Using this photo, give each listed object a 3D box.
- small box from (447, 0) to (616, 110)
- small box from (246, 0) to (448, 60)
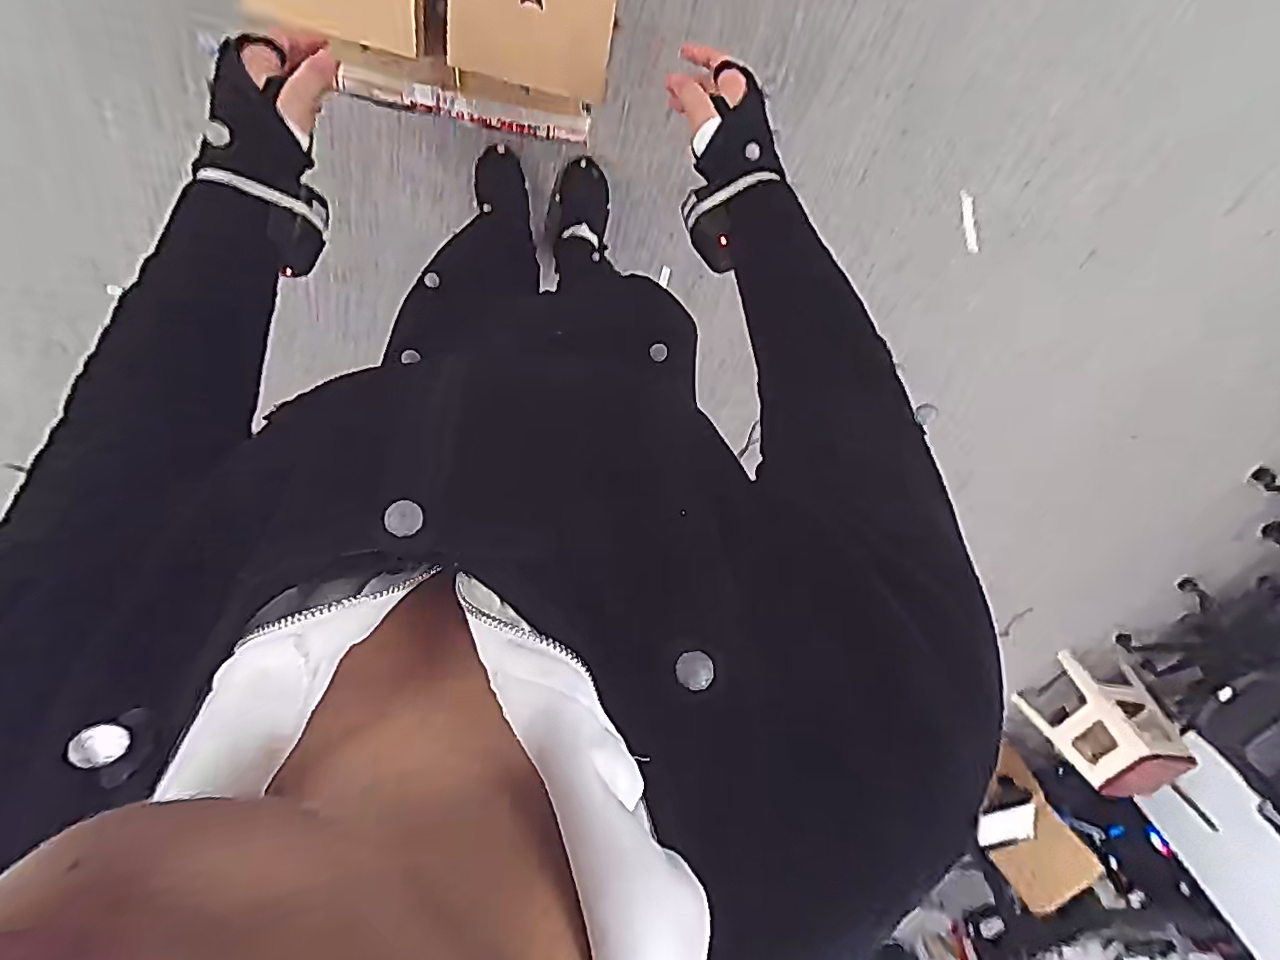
[{"bbox_3d":[-0.112,-0.541,0.601,0.168,0.176,0.179,7,126,-13],"label":"small box"},{"bbox_3d":[-0.295,-0.567,0.562,0.168,0.176,0.179,8,128,-10],"label":"small box"}]
